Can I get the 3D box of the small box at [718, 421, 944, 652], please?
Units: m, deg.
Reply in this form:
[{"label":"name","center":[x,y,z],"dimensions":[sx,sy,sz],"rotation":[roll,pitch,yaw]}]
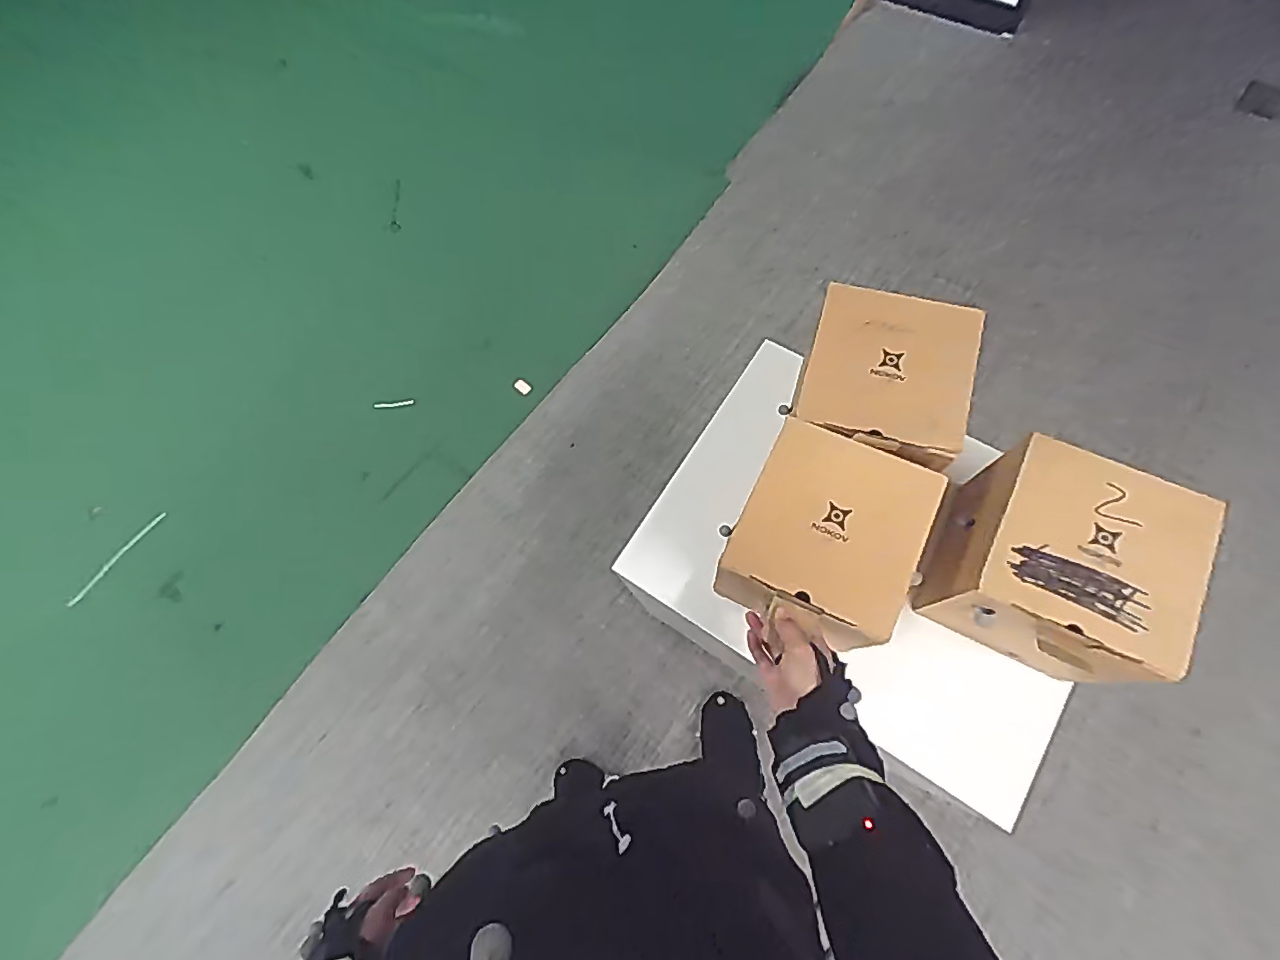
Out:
[{"label":"small box","center":[0.191,0.070,0.592],"dimensions":[0.168,0.176,0.179],"rotation":[24,74,13]}]
